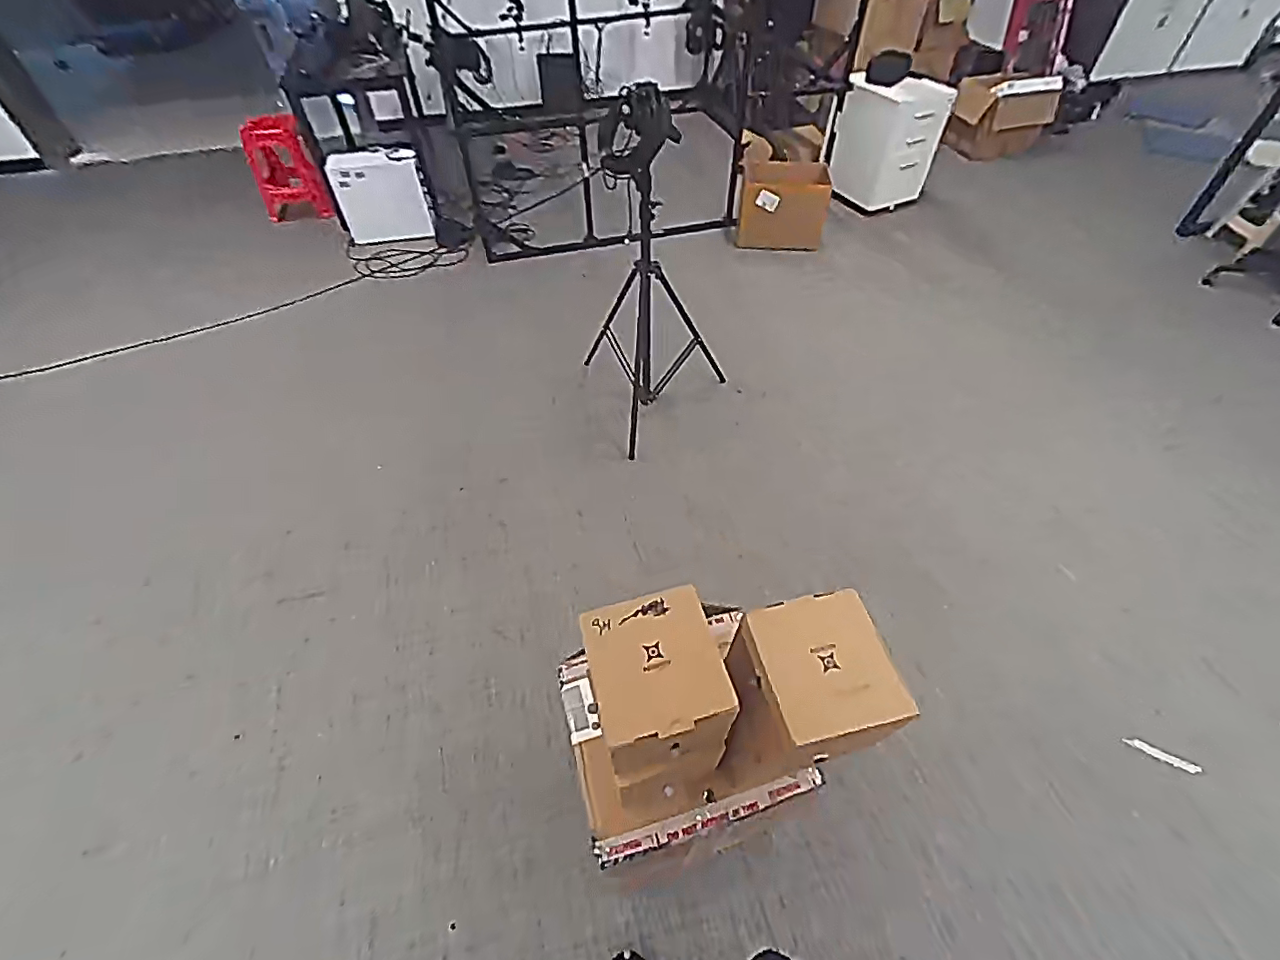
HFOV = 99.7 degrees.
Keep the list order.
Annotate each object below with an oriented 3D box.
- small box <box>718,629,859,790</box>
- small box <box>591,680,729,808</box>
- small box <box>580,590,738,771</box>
[{"bbox_3d":[0.217,0.376,0.885,0.168,0.176,0.179,-12,52,-11],"label":"small box"},{"bbox_3d":[0.025,0.396,0.869,0.168,0.176,0.179,-16,54,-11],"label":"small box"},{"bbox_3d":[0.022,0.284,0.748,0.168,0.176,0.179,-14,53,-9],"label":"small box"}]
